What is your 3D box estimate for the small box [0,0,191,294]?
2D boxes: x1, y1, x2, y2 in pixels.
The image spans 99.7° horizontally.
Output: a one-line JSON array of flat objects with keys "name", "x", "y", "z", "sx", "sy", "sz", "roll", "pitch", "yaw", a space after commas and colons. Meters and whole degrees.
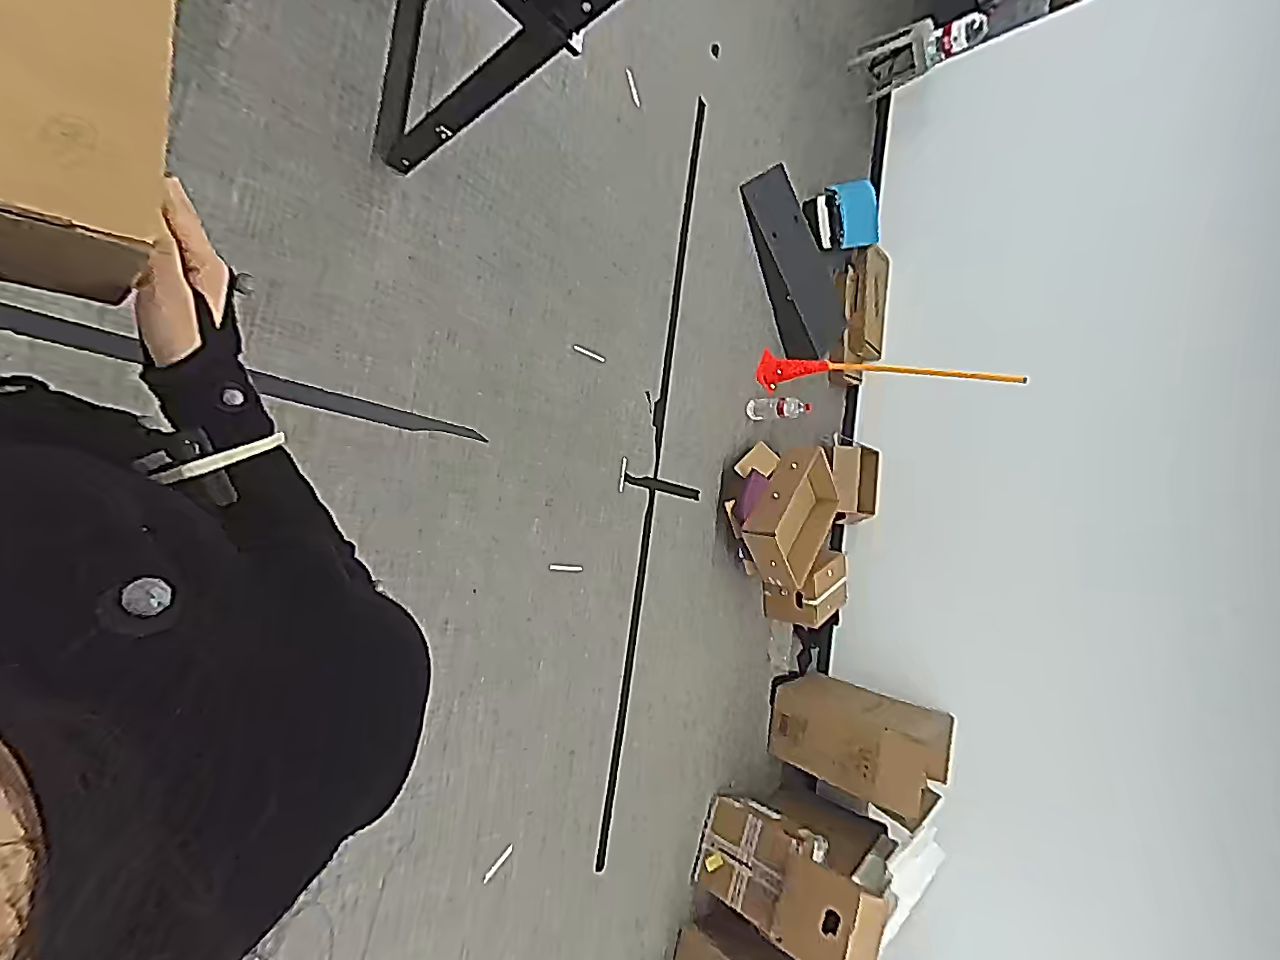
[{"name": "small box", "x": -0.343, "y": -0.206, "z": 0.264, "sx": 0.168, "sy": 0.176, "sz": 0.179, "roll": 4, "pitch": 91, "yaw": -50}]
